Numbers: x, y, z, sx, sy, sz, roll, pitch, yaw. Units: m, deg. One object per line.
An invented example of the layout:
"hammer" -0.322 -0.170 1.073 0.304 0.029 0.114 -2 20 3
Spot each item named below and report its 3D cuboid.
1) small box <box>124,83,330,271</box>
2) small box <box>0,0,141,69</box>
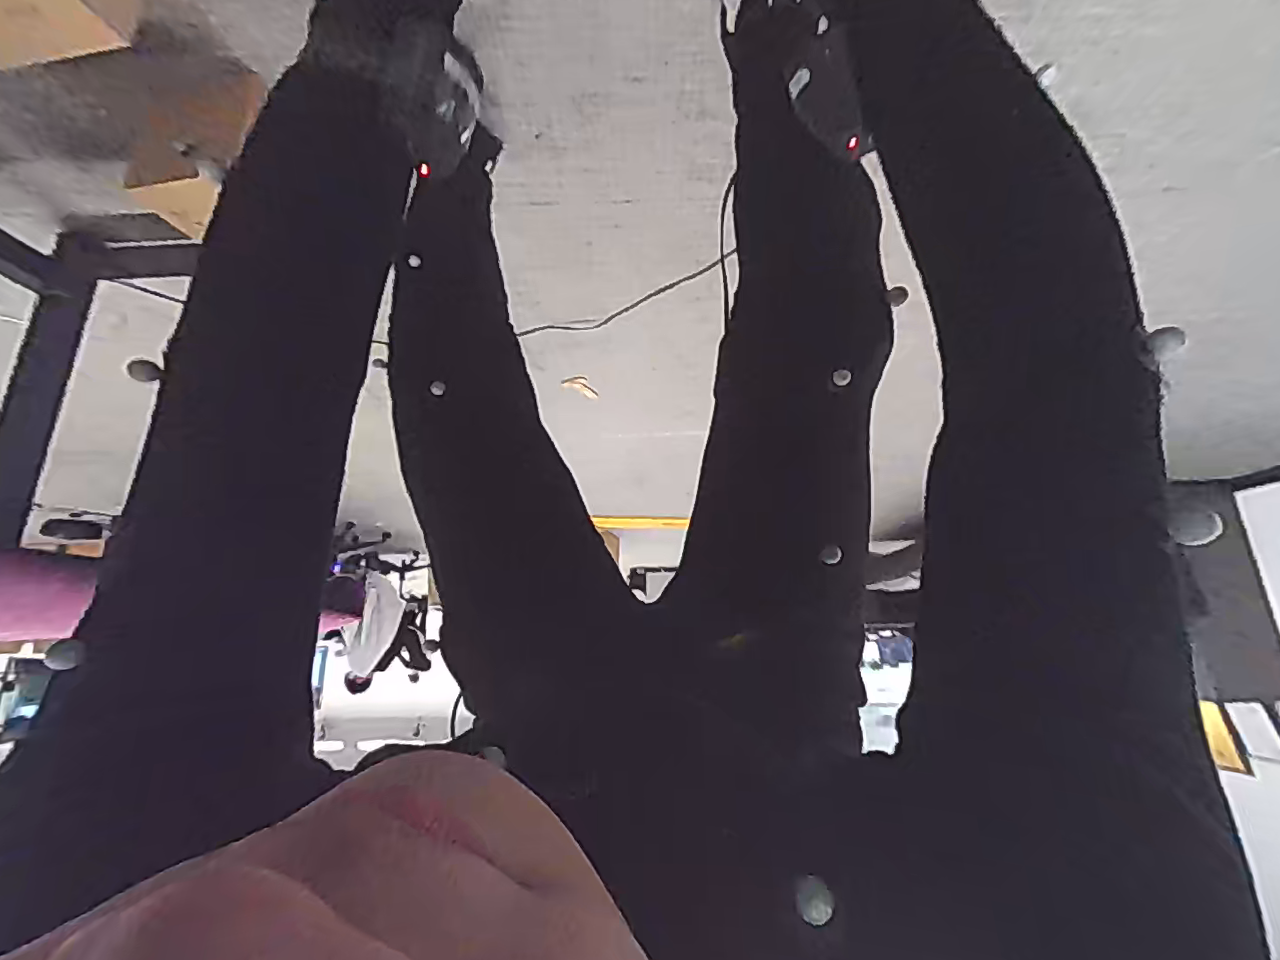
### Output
"small box" -0.586 -0.438 0.792 0.179 0.176 0.168 -4 164 9
"small box" -0.602 -0.528 0.488 0.168 0.176 0.179 -2 164 8
